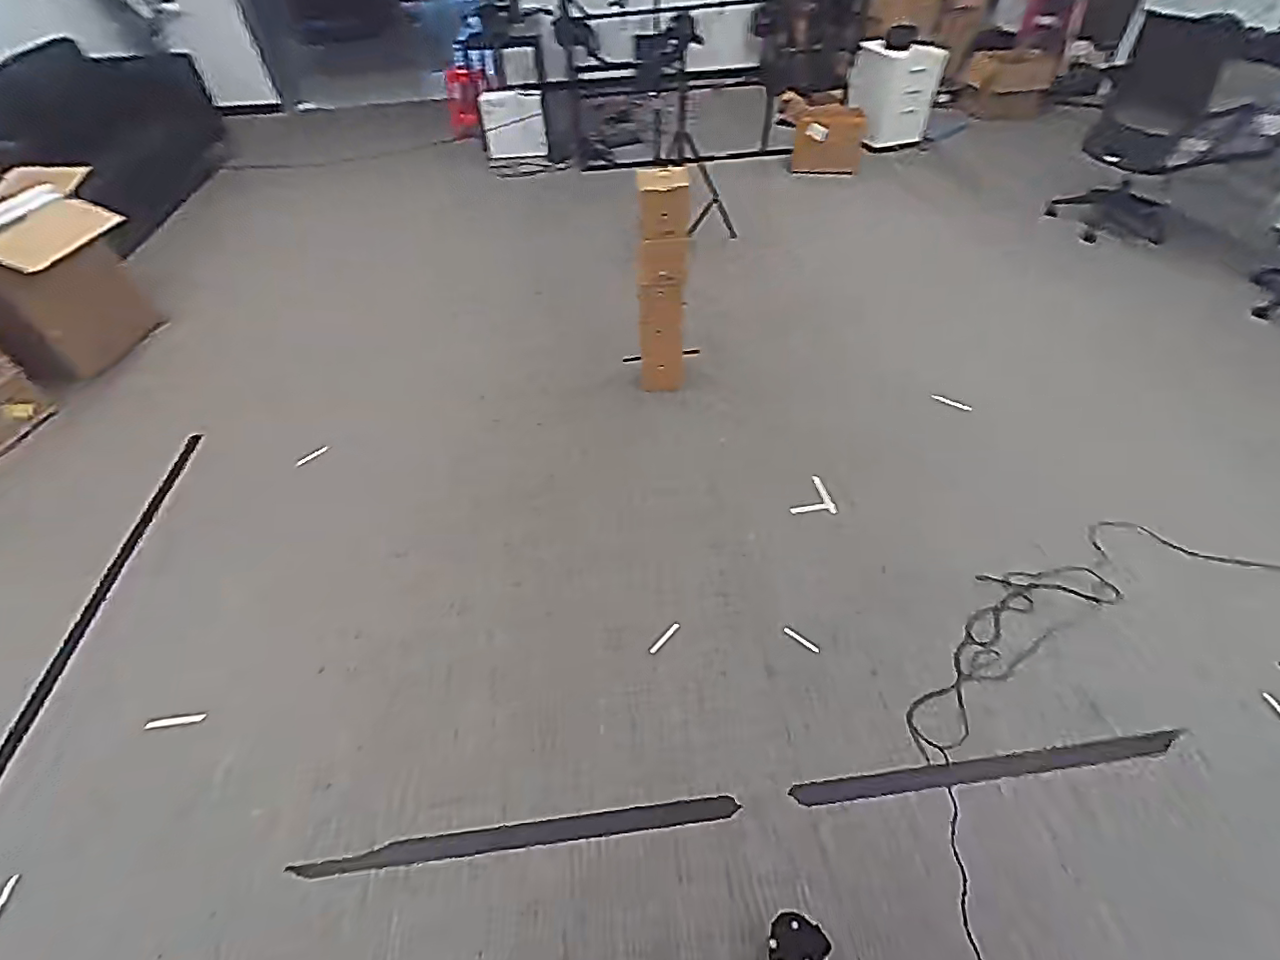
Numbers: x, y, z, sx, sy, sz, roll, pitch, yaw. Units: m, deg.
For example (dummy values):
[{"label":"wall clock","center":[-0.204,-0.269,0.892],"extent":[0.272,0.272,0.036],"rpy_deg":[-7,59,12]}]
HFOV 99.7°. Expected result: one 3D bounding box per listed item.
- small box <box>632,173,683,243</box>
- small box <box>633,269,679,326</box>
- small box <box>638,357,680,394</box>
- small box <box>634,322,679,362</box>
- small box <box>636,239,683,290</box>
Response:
[{"label":"small box","center":[0.063,-0.942,1.885],"extent":[0.168,0.176,0.179],"rpy_deg":[-4,50,0]},{"label":"small box","center":[0.065,-0.718,2.126],"extent":[0.179,0.176,0.168],"rpy_deg":[-2,49,1]},{"label":"small box","center":[0.081,-0.489,2.358],"extent":[0.179,0.176,0.168],"rpy_deg":[-2,48,1]},{"label":"small box","center":[0.072,-0.605,2.241],"extent":[0.179,0.176,0.168],"rpy_deg":[0,49,3]},{"label":"small box","center":[0.071,-0.826,2.002],"extent":[0.168,0.176,0.179],"rpy_deg":[-3,50,2]}]
